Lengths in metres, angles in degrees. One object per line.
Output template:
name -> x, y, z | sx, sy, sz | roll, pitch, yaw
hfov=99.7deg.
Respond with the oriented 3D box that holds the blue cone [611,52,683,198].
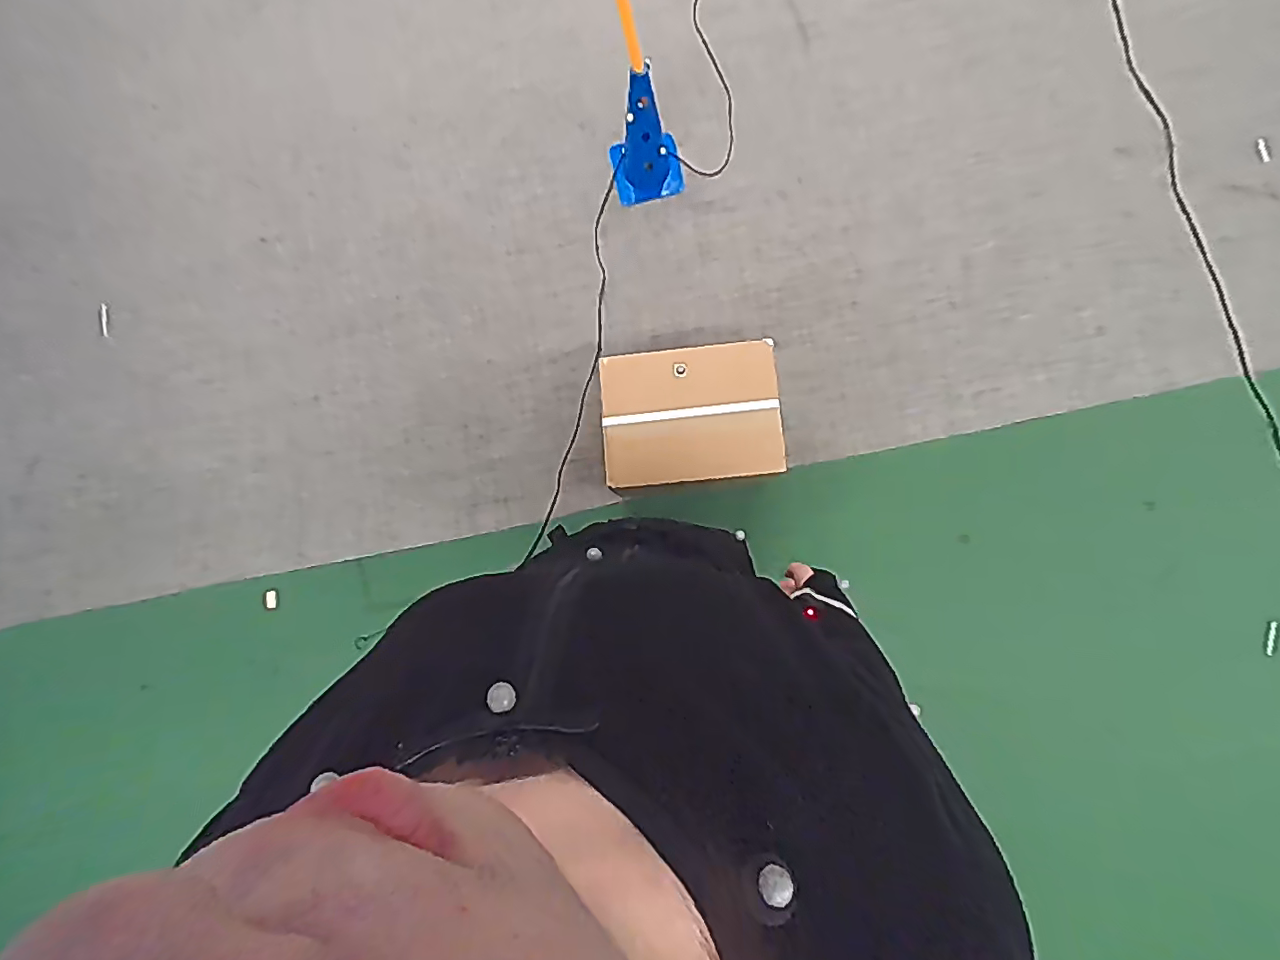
blue cone -> 0.009, -0.951, 1.438 | 0.193, 0.380, 0.192 | -14, 83, 3
